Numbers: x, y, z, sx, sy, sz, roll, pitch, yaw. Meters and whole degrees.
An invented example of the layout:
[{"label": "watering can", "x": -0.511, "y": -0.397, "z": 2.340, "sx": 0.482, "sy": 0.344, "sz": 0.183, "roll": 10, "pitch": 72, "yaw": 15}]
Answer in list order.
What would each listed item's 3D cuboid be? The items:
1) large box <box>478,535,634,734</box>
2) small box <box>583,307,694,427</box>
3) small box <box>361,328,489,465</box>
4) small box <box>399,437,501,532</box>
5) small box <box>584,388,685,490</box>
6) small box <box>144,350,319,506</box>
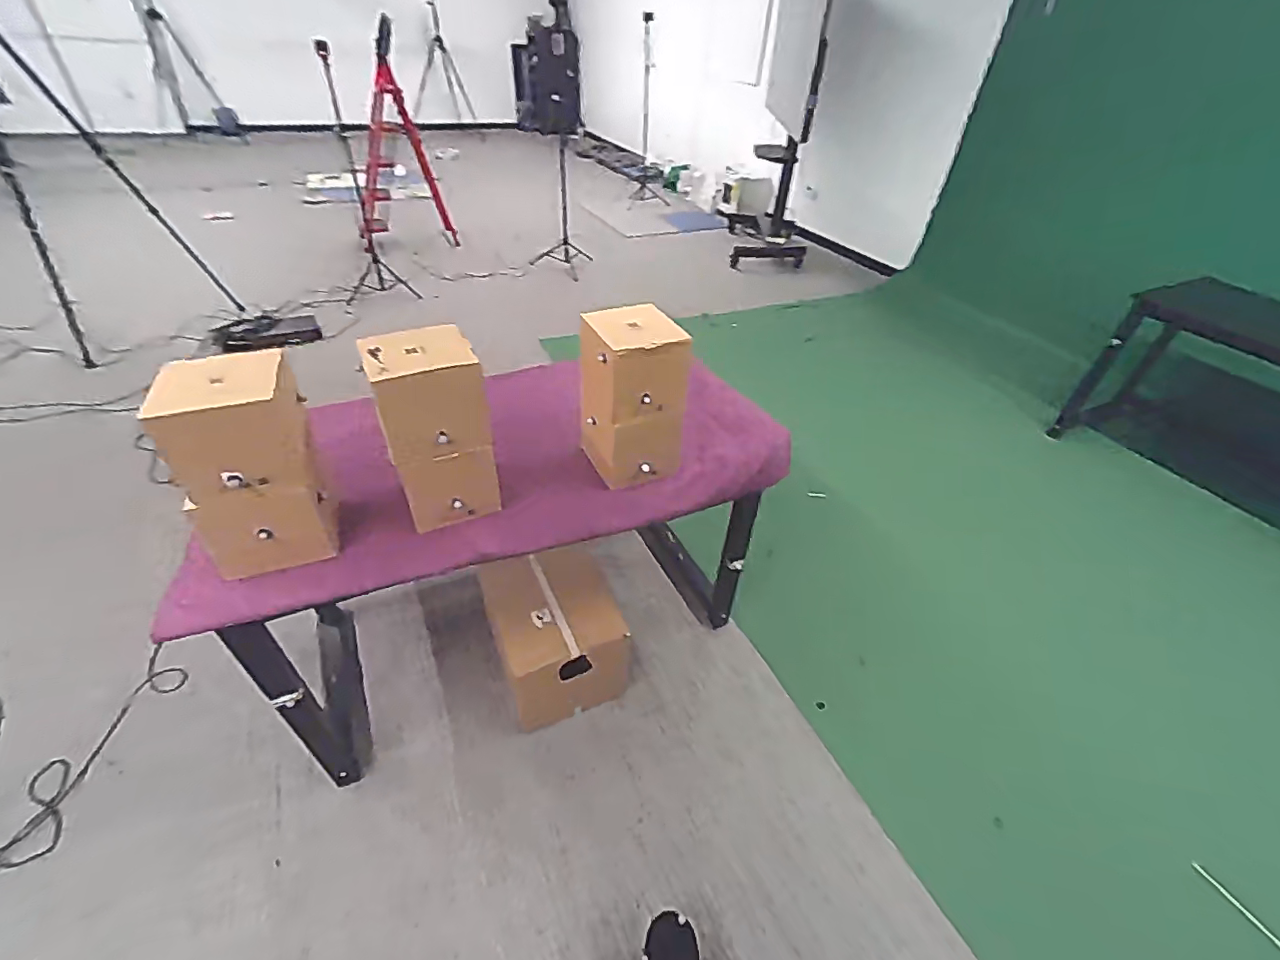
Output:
[{"label": "large box", "x": -0.251, "y": 0.435, "z": 1.570, "sx": 0.320, "sy": 0.320, "sz": 0.408, "roll": -16, "pitch": 45, "yaw": -22}, {"label": "small box", "x": -0.012, "y": -0.232, "z": 1.102, "sx": 0.168, "sy": 0.176, "sz": 0.179, "roll": -16, "pitch": 44, "yaw": -22}, {"label": "small box", "x": -0.377, "y": -0.152, "z": 0.969, "sx": 0.179, "sy": 0.176, "sz": 0.168, "roll": -16, "pitch": 43, "yaw": -24}, {"label": "small box", "x": -0.386, "y": -0.027, "z": 1.075, "sx": 0.168, "sy": 0.176, "sz": 0.179, "roll": -17, "pitch": 44, "yaw": -23}, {"label": "small box", "x": -0.020, "y": -0.105, "z": 1.203, "sx": 0.168, "sy": 0.176, "sz": 0.179, "roll": -16, "pitch": 44, "yaw": -21}, {"label": "small box", "x": -0.635, "y": -0.086, "z": 0.869, "sx": 0.168, "sy": 0.176, "sz": 0.179, "roll": -14, "pitch": 43, "yaw": -19}]
